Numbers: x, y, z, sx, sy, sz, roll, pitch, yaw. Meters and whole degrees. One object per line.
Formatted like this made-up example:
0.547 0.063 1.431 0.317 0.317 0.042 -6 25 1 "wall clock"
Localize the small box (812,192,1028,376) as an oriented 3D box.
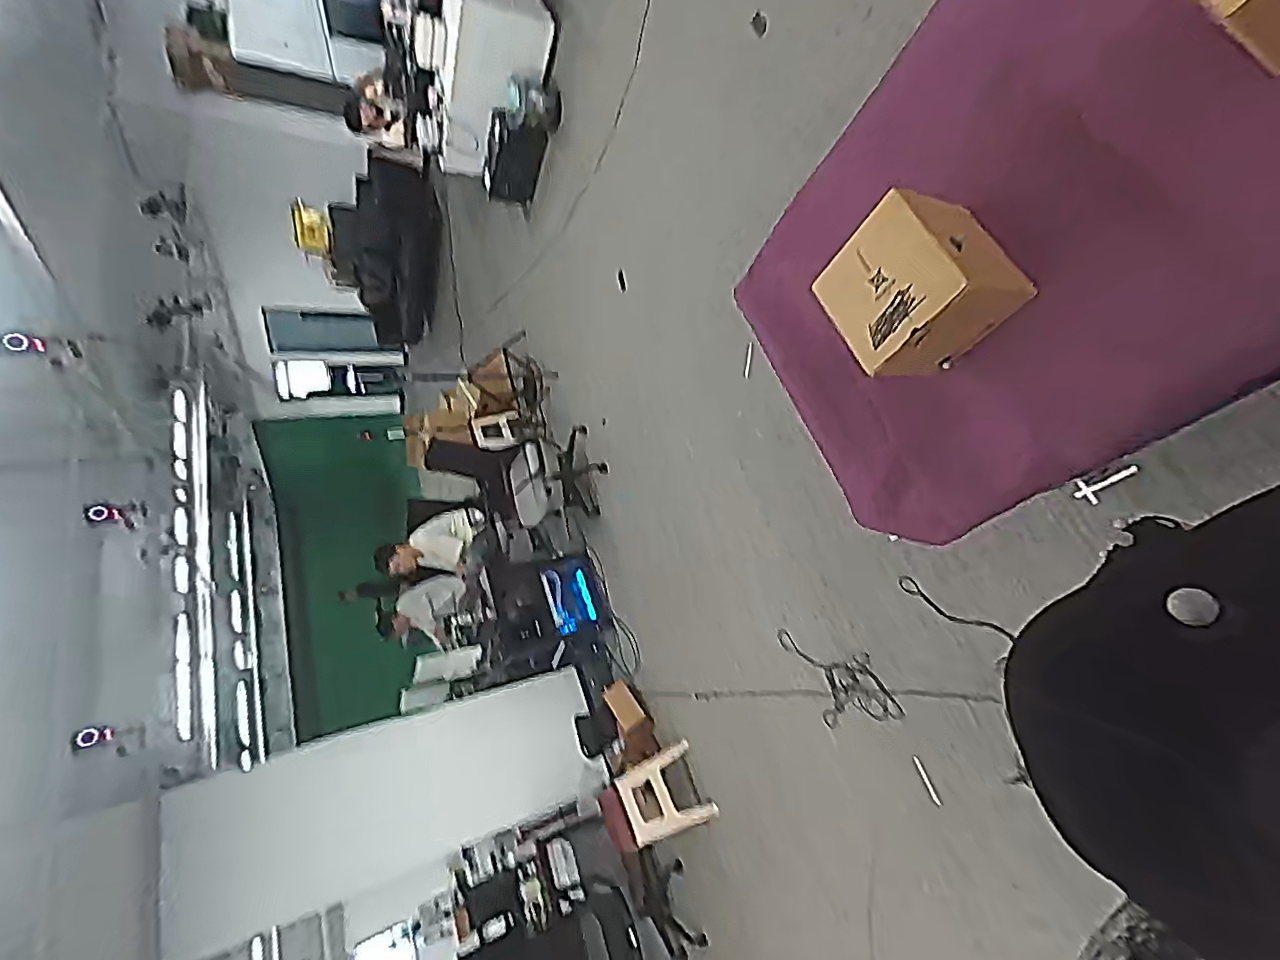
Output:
0.387 -0.266 0.756 0.168 0.176 0.179 -52 52 50 "small box"
